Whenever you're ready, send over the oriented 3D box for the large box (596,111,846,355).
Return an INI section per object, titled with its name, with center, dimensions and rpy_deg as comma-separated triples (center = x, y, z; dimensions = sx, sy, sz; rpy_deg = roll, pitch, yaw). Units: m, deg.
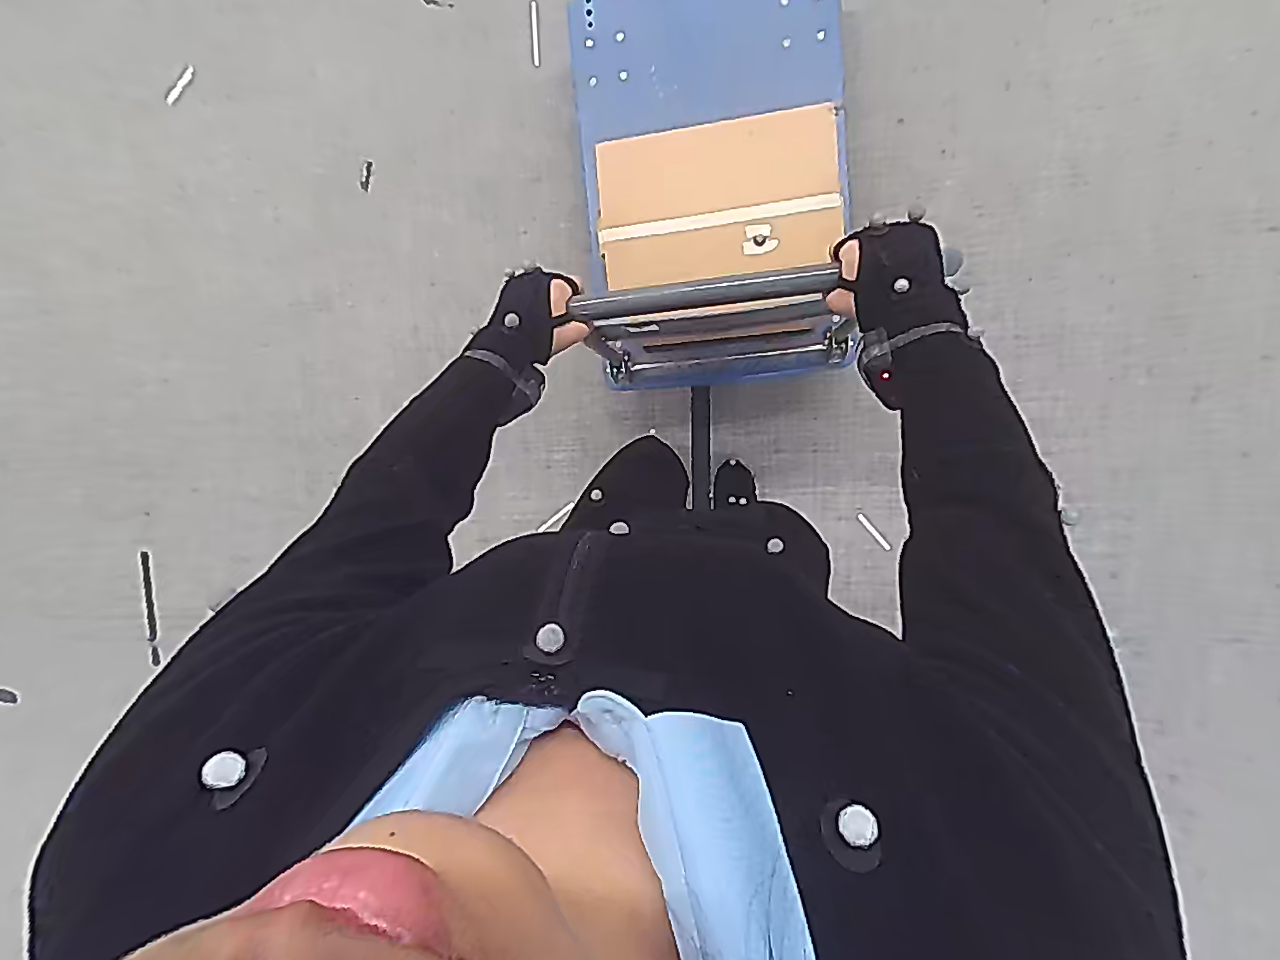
[large box]
center = 0.152, -0.442, 1.060
dimensions = 0.408, 0.320, 0.320
rpy_deg = -4, 96, 8
